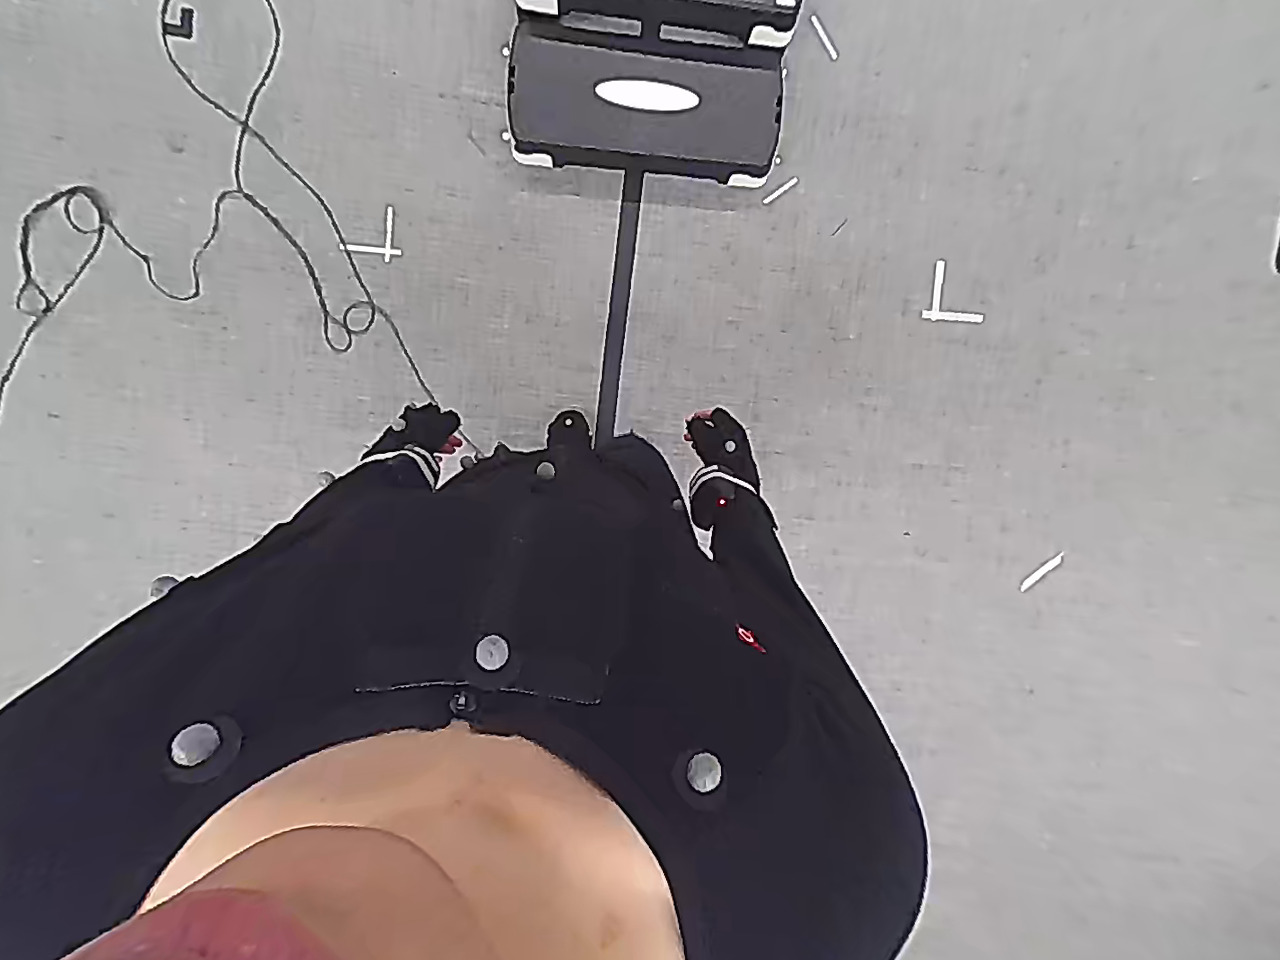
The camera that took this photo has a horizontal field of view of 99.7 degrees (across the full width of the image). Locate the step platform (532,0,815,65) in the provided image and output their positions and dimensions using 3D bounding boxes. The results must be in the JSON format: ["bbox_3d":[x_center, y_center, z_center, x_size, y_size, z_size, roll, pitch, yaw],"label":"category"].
[{"bbox_3d":[0.080,-1.217,1.265,0.684,0.204,0.286,4,96,-5],"label":"step platform"}]
